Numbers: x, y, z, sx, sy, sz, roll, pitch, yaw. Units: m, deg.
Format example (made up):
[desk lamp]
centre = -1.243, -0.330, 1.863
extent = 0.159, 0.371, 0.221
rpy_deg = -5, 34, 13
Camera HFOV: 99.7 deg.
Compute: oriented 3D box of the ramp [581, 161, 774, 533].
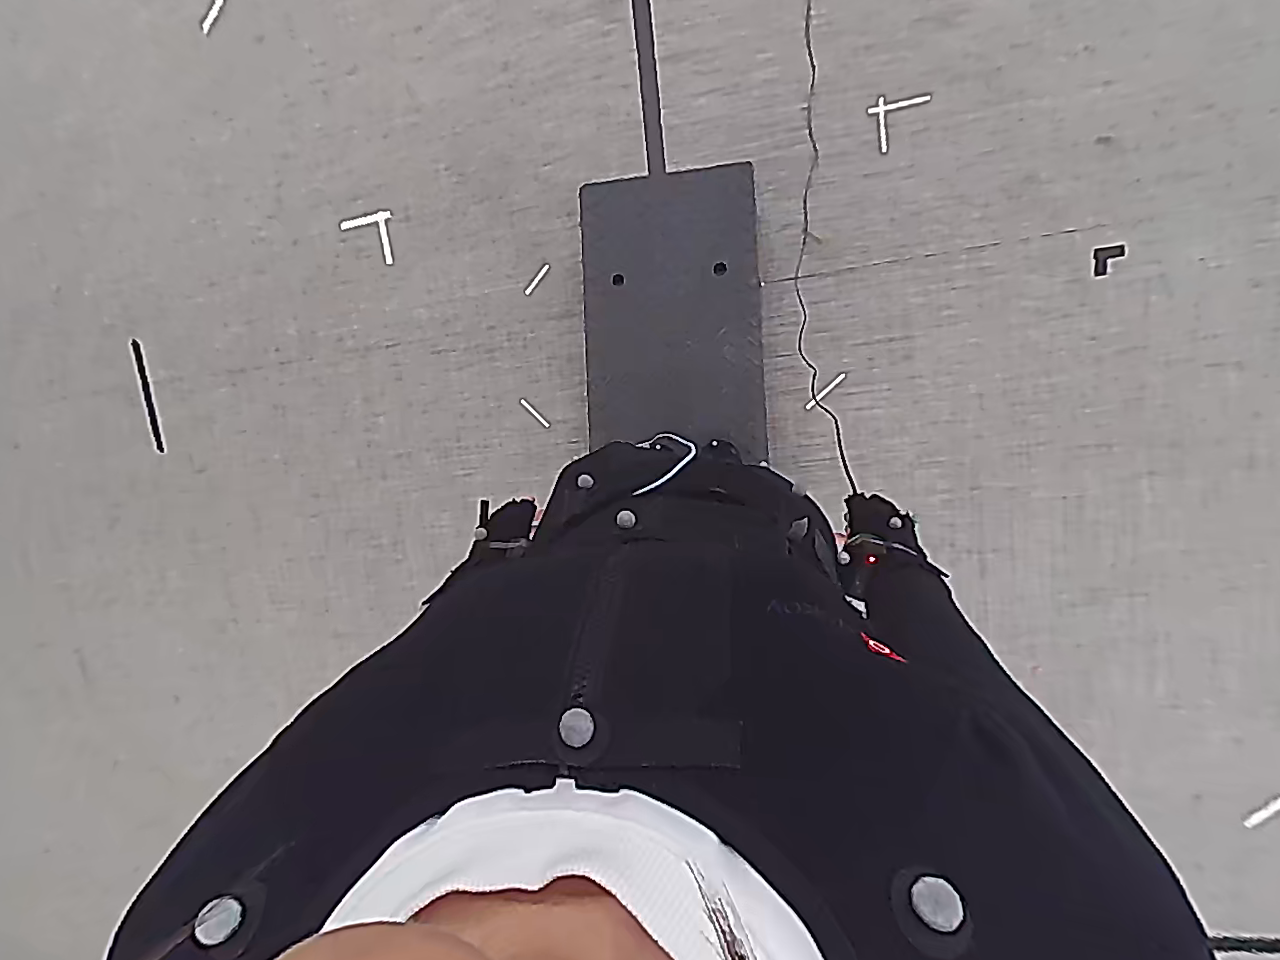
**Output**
[ramp]
centre = 0.089, -0.361, 1.489
extent = 0.509, 0.206, 0.991
rpy_deg = -5, 96, 11
